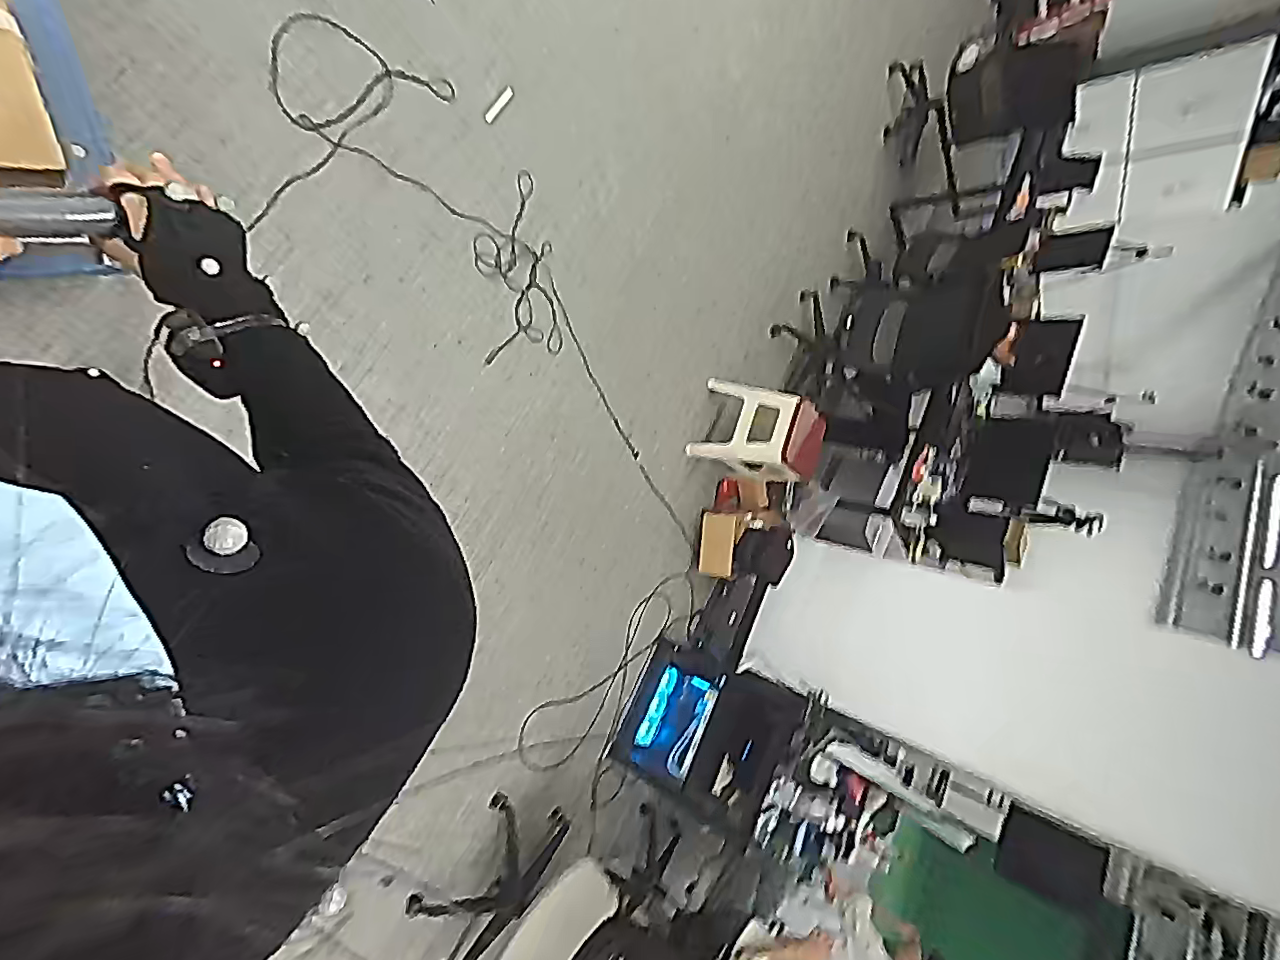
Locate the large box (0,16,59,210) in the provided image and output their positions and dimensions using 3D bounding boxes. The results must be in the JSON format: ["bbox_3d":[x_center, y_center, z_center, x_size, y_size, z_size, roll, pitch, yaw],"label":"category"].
[{"bbox_3d":[-0.990,-0.494,0.594,0.408,0.320,0.320,-25,118,-44],"label":"large box"}]
